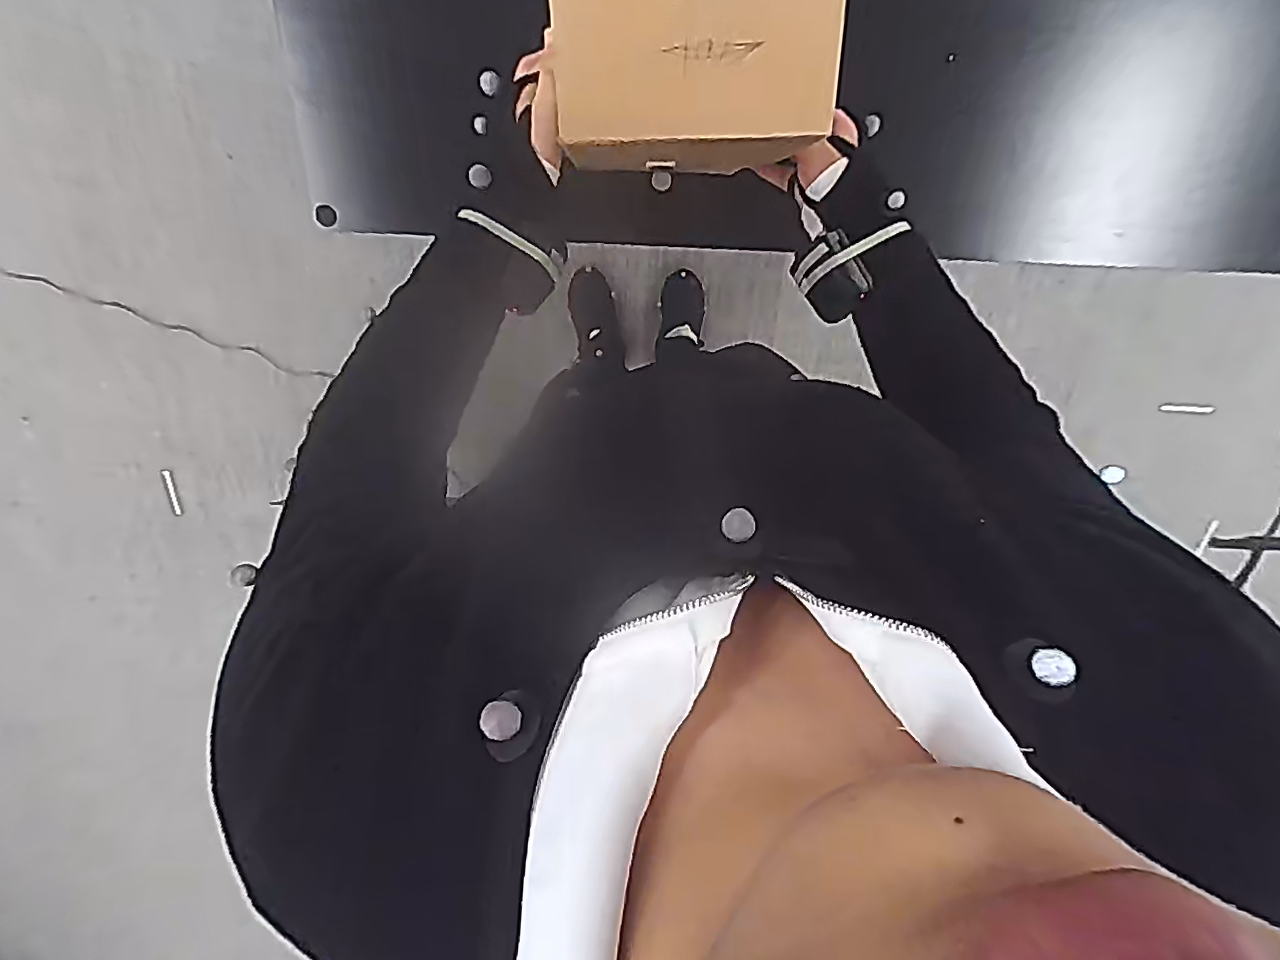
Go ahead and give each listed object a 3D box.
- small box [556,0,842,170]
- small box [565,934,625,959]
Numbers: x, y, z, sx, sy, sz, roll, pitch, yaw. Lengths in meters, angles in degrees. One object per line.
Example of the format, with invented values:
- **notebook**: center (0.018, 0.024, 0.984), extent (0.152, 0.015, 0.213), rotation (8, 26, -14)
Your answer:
- **small box**: center (0.031, -0.323, 0.369), extent (0.168, 0.176, 0.179), rotation (-2, 115, 0)
- **small box**: center (-0.138, 1.520, 1.635), extent (0.179, 0.176, 0.168), rotation (-5, 110, 1)
